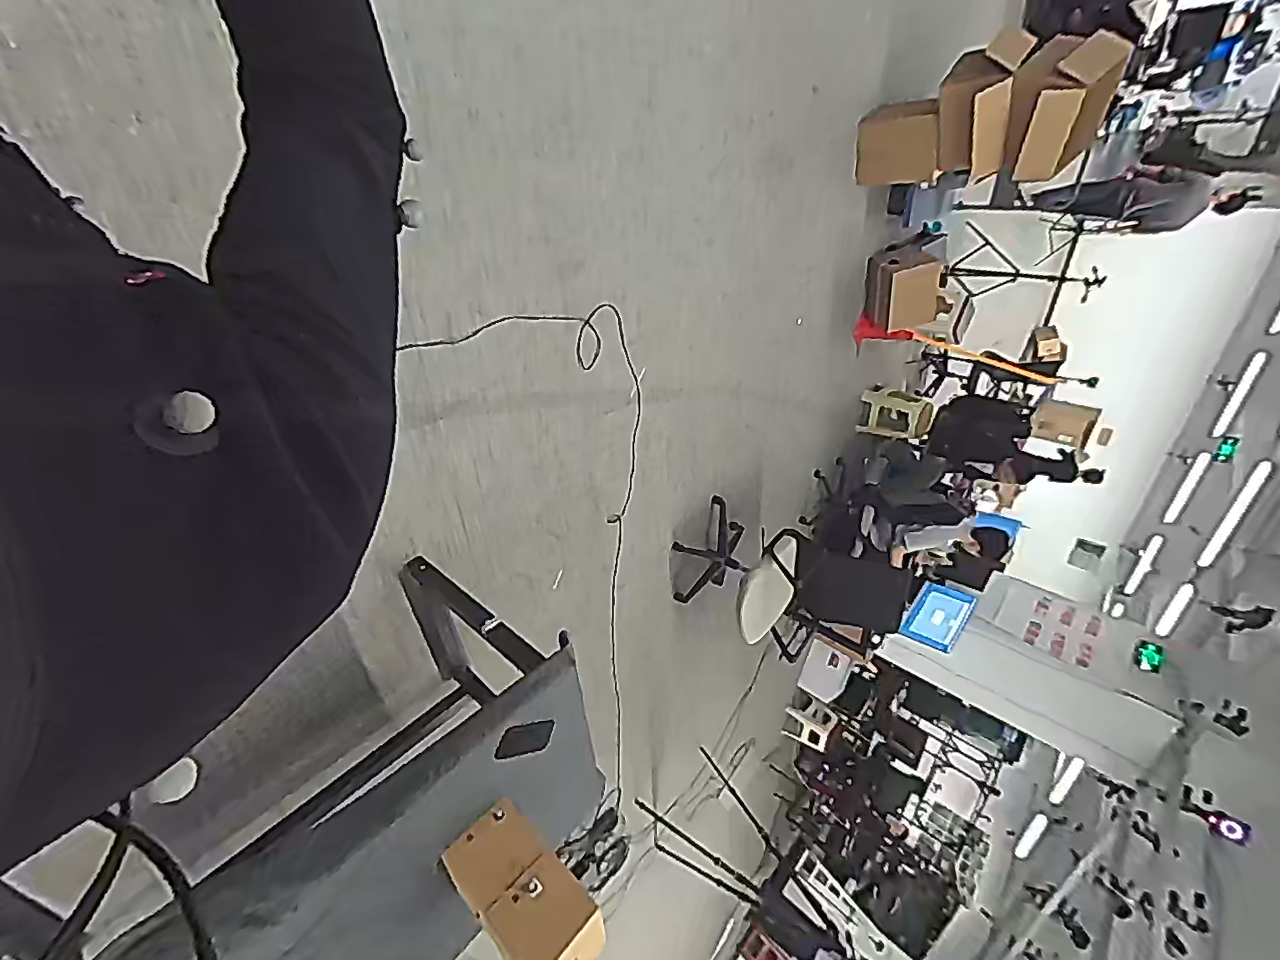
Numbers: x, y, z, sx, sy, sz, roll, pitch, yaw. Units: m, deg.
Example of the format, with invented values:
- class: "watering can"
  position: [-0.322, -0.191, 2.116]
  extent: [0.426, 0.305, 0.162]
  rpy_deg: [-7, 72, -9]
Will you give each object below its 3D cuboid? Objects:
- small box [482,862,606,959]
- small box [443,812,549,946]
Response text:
- class: "small box"
  position: [-0.191, 0.925, 1.088]
  extent: [0.168, 0.176, 0.179]
  rpy_deg: [-32, 130, -38]
- class: "small box"
  position: [-0.309, 0.878, 1.188]
  extent: [0.168, 0.176, 0.179]
  rpy_deg: [-31, 131, -38]
